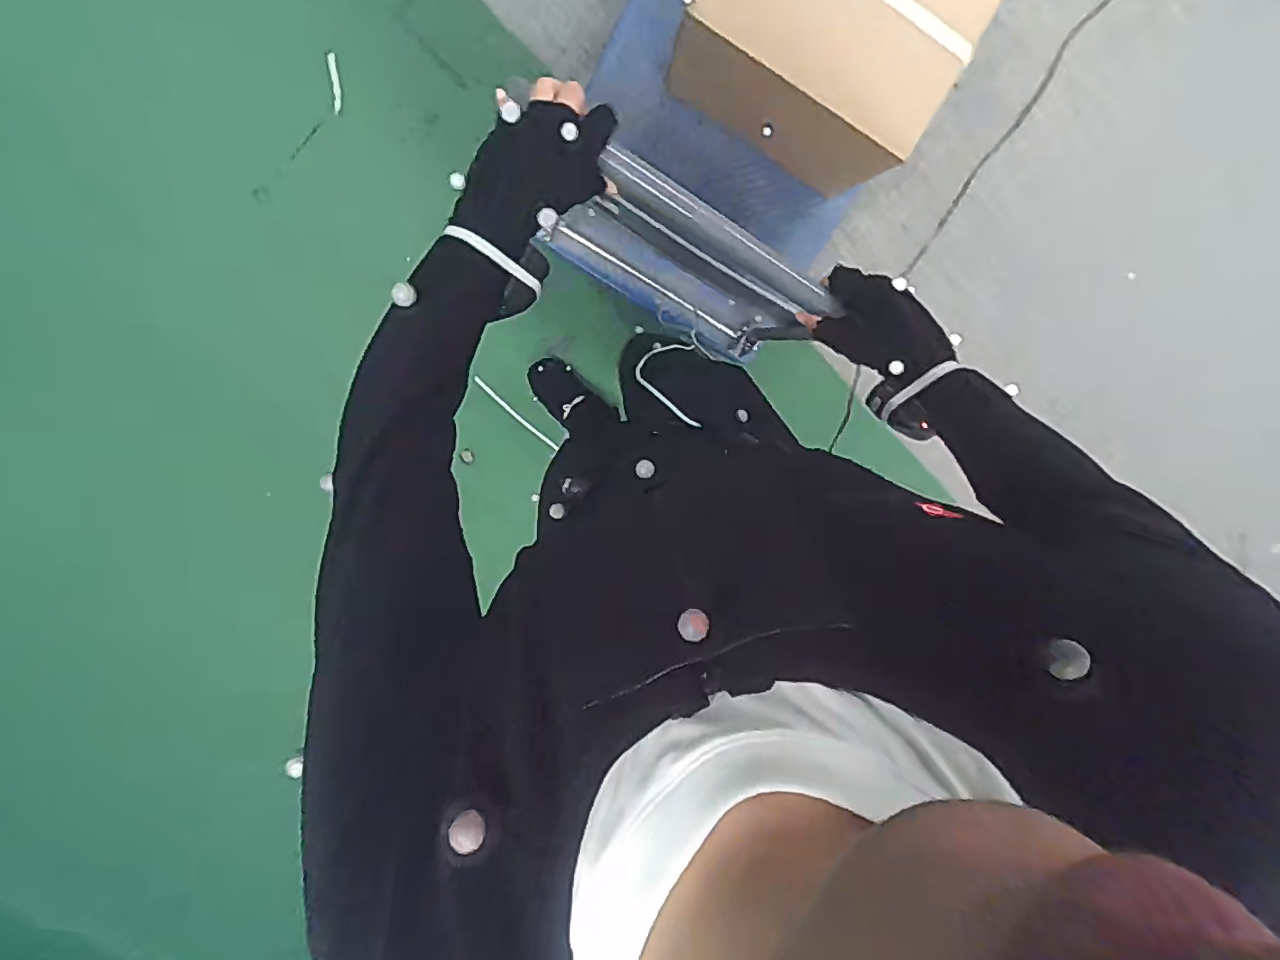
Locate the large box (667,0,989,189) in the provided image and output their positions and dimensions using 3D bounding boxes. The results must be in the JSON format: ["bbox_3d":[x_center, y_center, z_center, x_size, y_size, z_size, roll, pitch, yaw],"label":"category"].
[{"bbox_3d":[0.301,-0.770,0.925,0.408,0.320,0.320,25,104,-10],"label":"large box"}]
